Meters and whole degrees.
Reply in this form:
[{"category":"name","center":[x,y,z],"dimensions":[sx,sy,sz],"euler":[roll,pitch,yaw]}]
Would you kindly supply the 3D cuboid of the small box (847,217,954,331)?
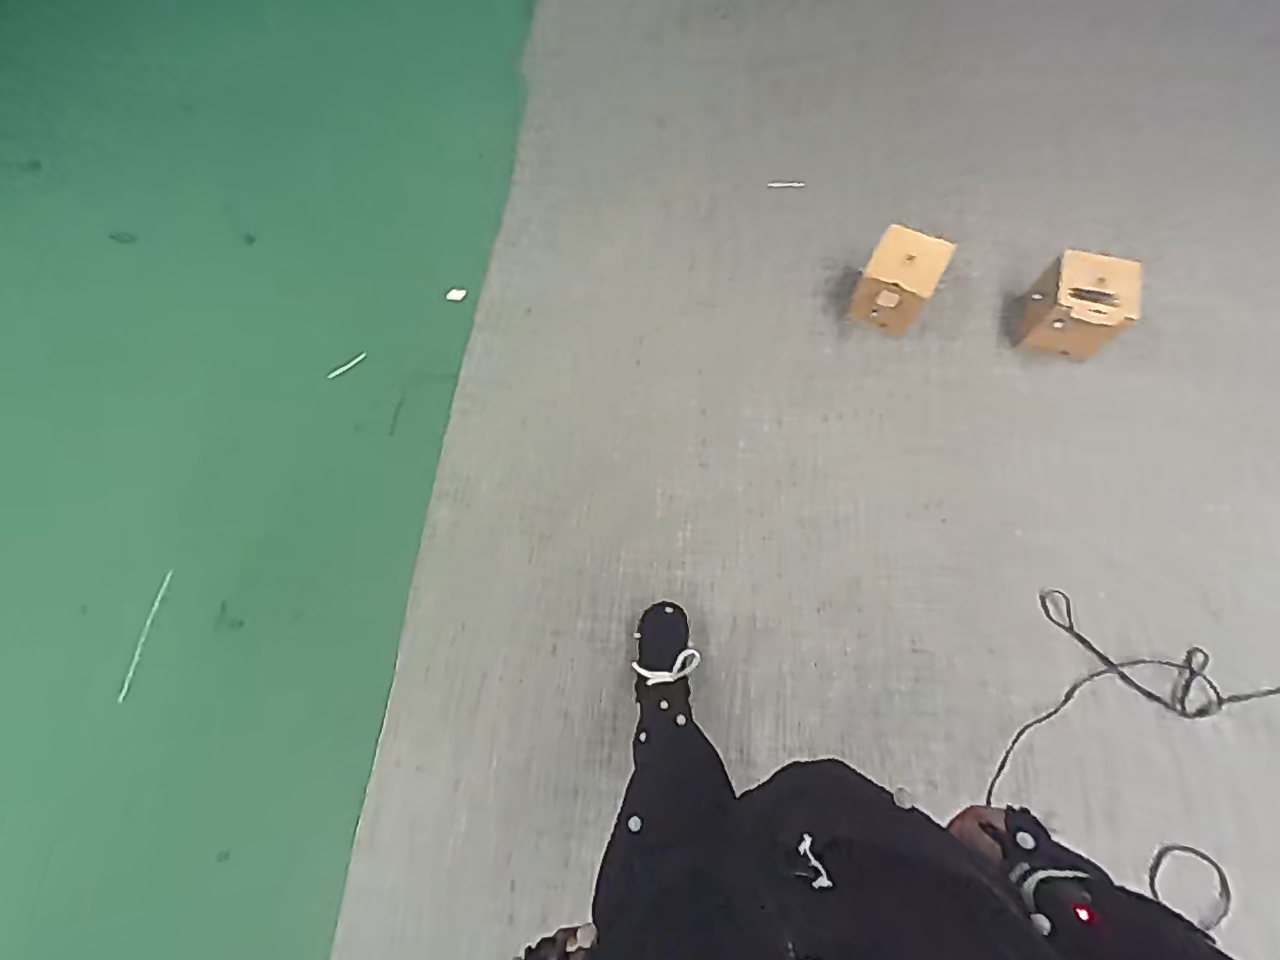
[{"category":"small box","center":[0.650,-0.517,1.373],"dimensions":[0.168,0.176,0.179],"euler":[28,76,13]}]
